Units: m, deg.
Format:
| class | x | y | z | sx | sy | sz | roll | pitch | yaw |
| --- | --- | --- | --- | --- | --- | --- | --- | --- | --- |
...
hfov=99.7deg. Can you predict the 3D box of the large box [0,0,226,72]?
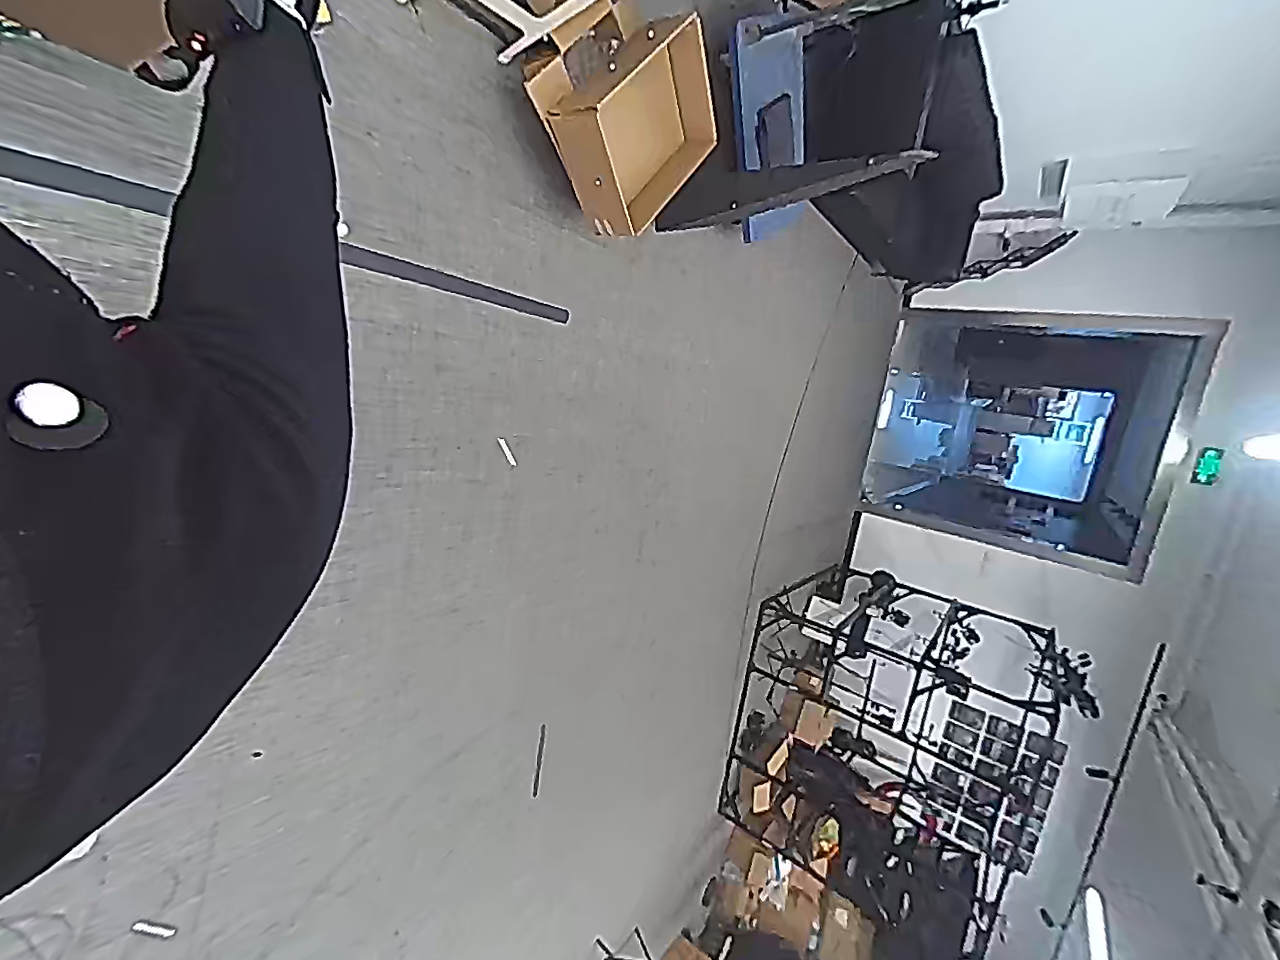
| class | x | y | z | sx | sy | sz | roll | pitch | yaw |
| --- | --- | --- | --- | --- | --- | --- | --- | --- | --- |
| large box | -0.528 | -0.539 | 0.320 | 0.408 | 0.320 | 0.320 | -1 | 108 | -54 |
